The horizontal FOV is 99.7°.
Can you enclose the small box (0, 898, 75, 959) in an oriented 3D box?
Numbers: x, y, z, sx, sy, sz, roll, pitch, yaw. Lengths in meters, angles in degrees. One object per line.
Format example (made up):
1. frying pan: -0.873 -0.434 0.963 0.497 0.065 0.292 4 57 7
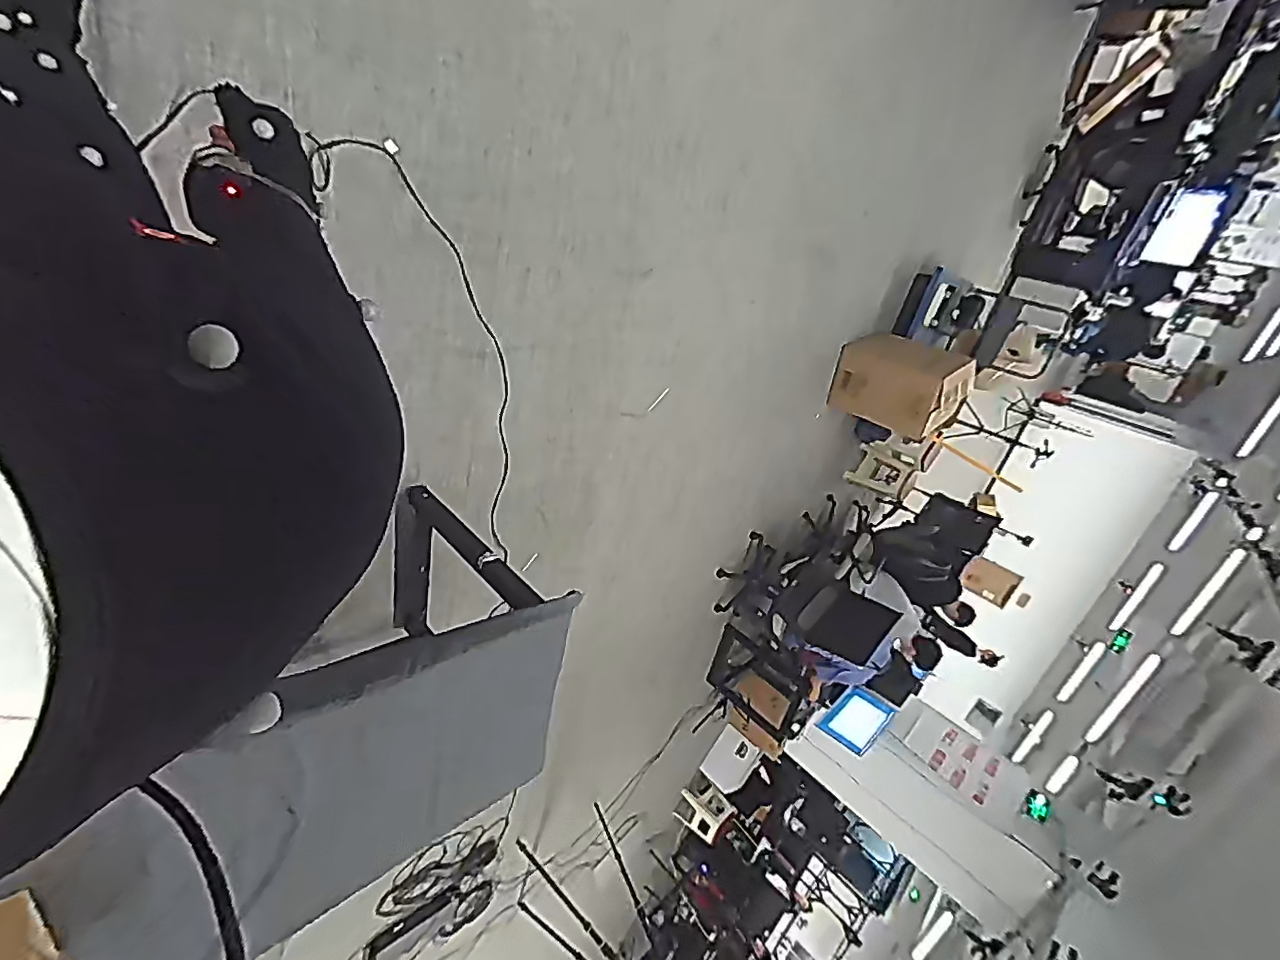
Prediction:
1. small box: -0.816 0.665 0.656 0.168 0.176 0.179 -15 128 -43
